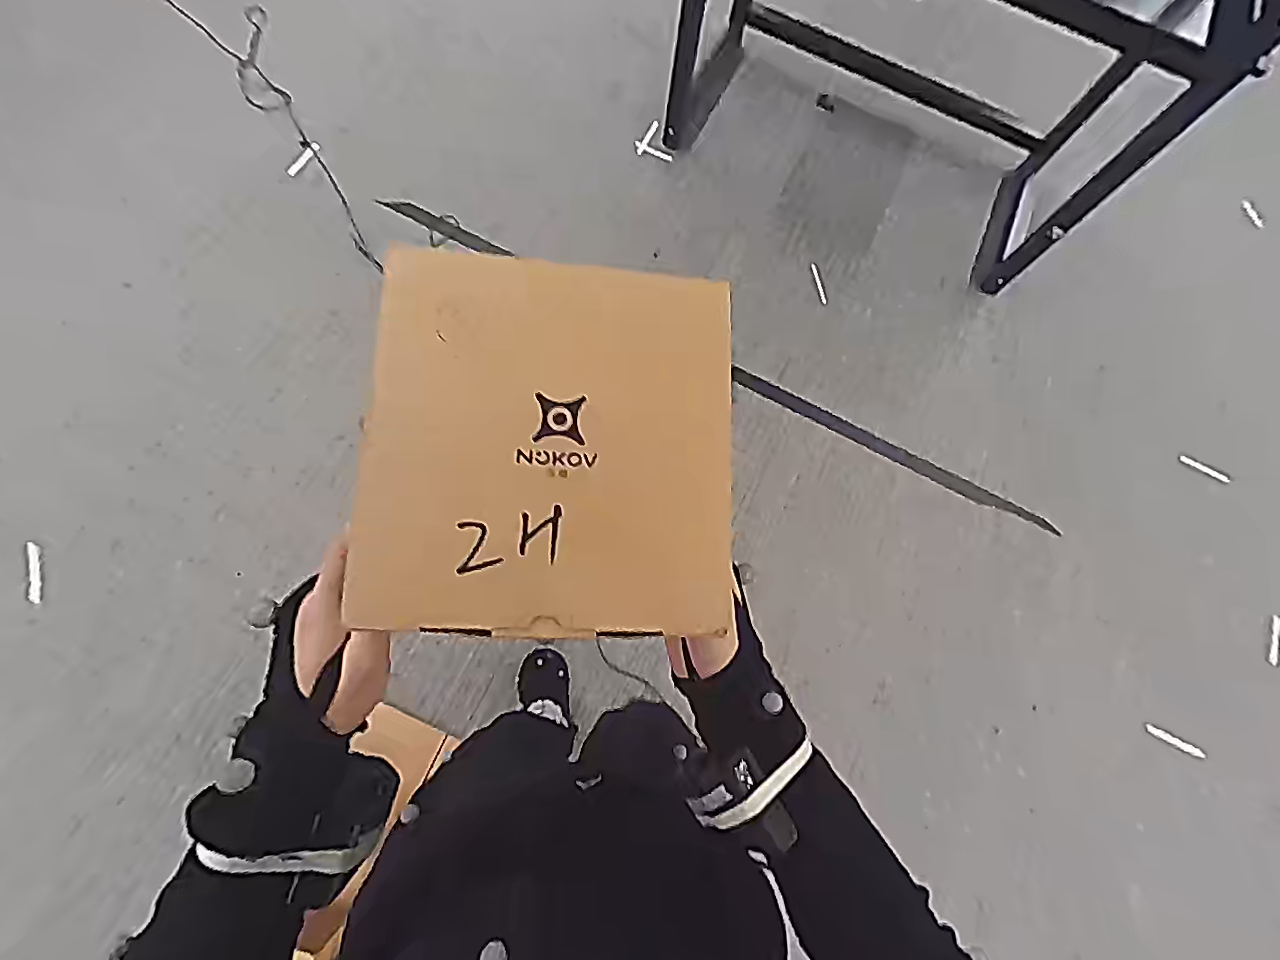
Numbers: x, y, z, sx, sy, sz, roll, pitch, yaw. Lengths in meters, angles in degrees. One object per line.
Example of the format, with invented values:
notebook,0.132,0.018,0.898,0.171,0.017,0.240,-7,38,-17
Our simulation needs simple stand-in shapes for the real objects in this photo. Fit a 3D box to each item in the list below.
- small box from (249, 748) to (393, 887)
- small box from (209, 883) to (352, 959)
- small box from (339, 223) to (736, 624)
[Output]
small box,-0.637,0.677,1.111,0.168,0.176,0.179,20,73,1
small box,-0.701,0.919,1.038,0.179,0.176,0.168,20,74,0
small box,-0.049,-0.013,0.319,0.168,0.176,0.179,4,80,-8
